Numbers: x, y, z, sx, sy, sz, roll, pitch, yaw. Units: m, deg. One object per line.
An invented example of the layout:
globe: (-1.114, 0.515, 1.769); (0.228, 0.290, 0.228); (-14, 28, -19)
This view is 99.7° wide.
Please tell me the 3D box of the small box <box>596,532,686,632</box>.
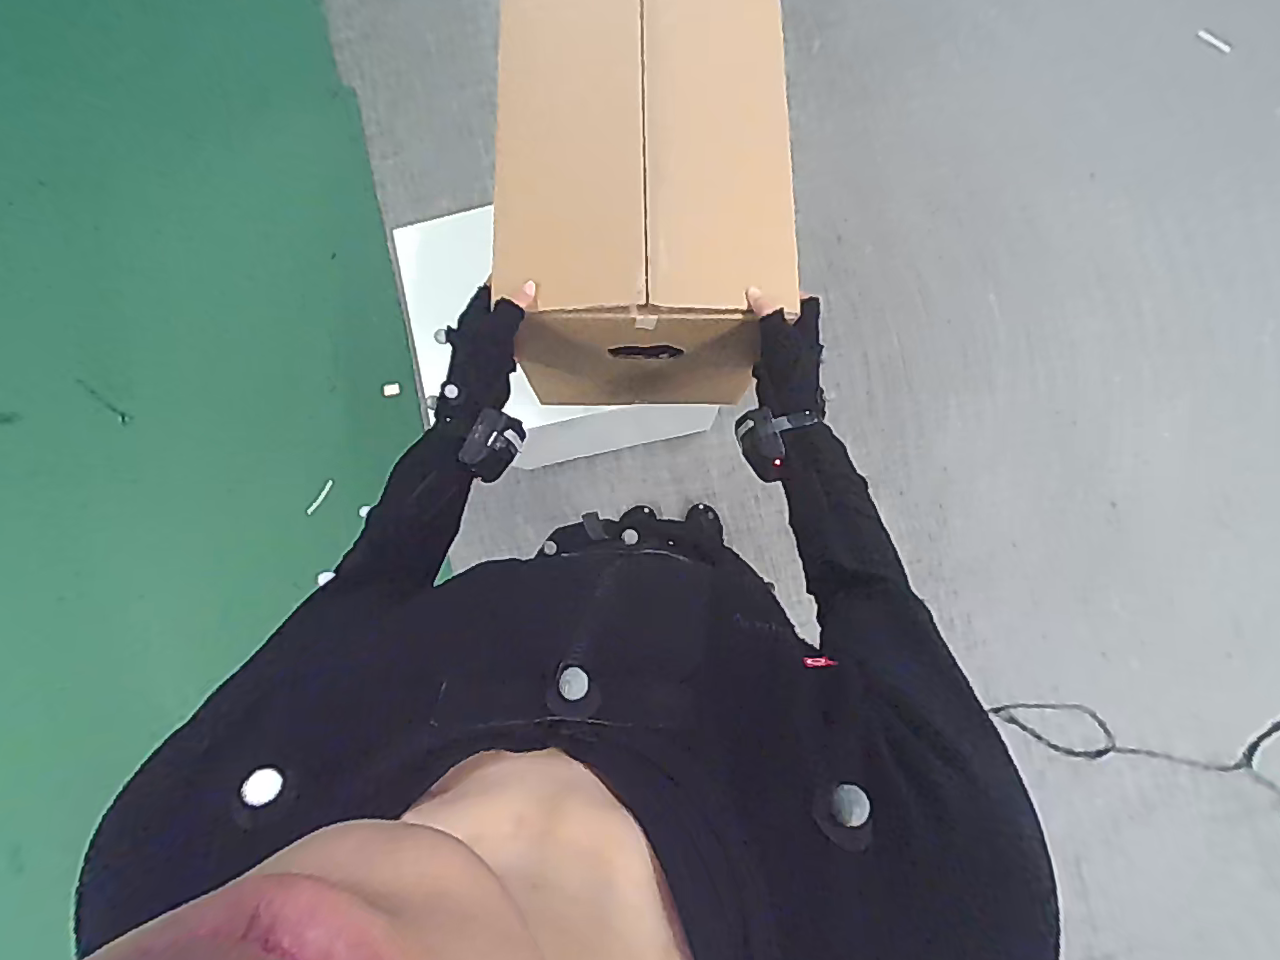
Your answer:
small box: (-0.004, 0.262, 1.429); (0.168, 0.176, 0.179); (33, 93, -10)
